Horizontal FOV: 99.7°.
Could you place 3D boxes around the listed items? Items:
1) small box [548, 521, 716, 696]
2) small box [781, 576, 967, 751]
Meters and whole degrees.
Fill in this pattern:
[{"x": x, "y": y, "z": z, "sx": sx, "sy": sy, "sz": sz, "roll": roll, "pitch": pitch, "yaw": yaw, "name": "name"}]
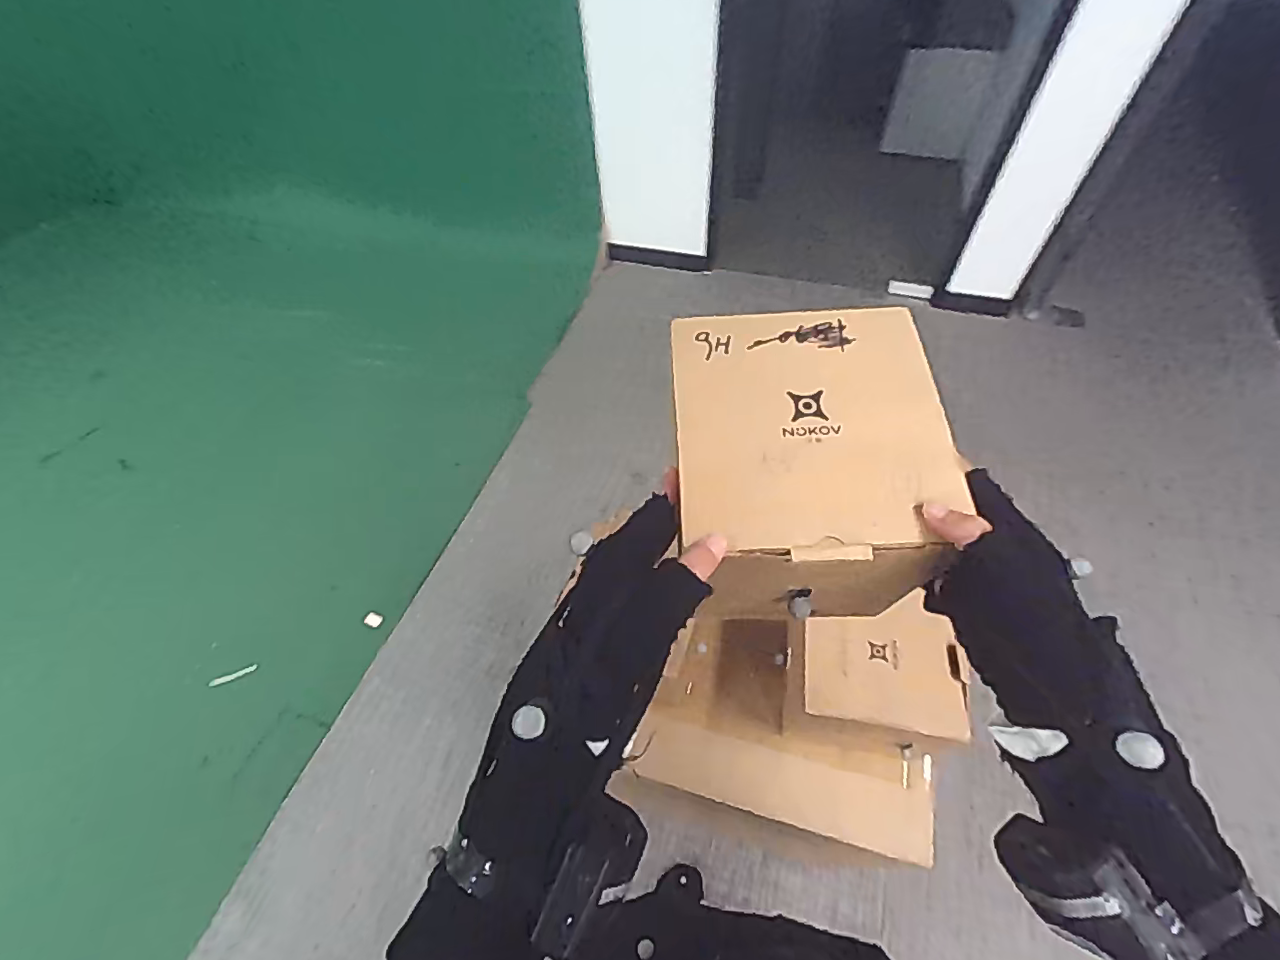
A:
[{"x": -0.002, "y": 0.186, "z": 0.761, "sx": 0.179, "sy": 0.176, "sz": 0.168, "roll": 15, "pitch": 60, "yaw": 14, "name": "small box"}, {"x": 0.286, "y": 0.242, "z": 0.700, "sx": 0.179, "sy": 0.176, "sz": 0.168, "roll": 5, "pitch": 57, "yaw": 10, "name": "small box"}]
